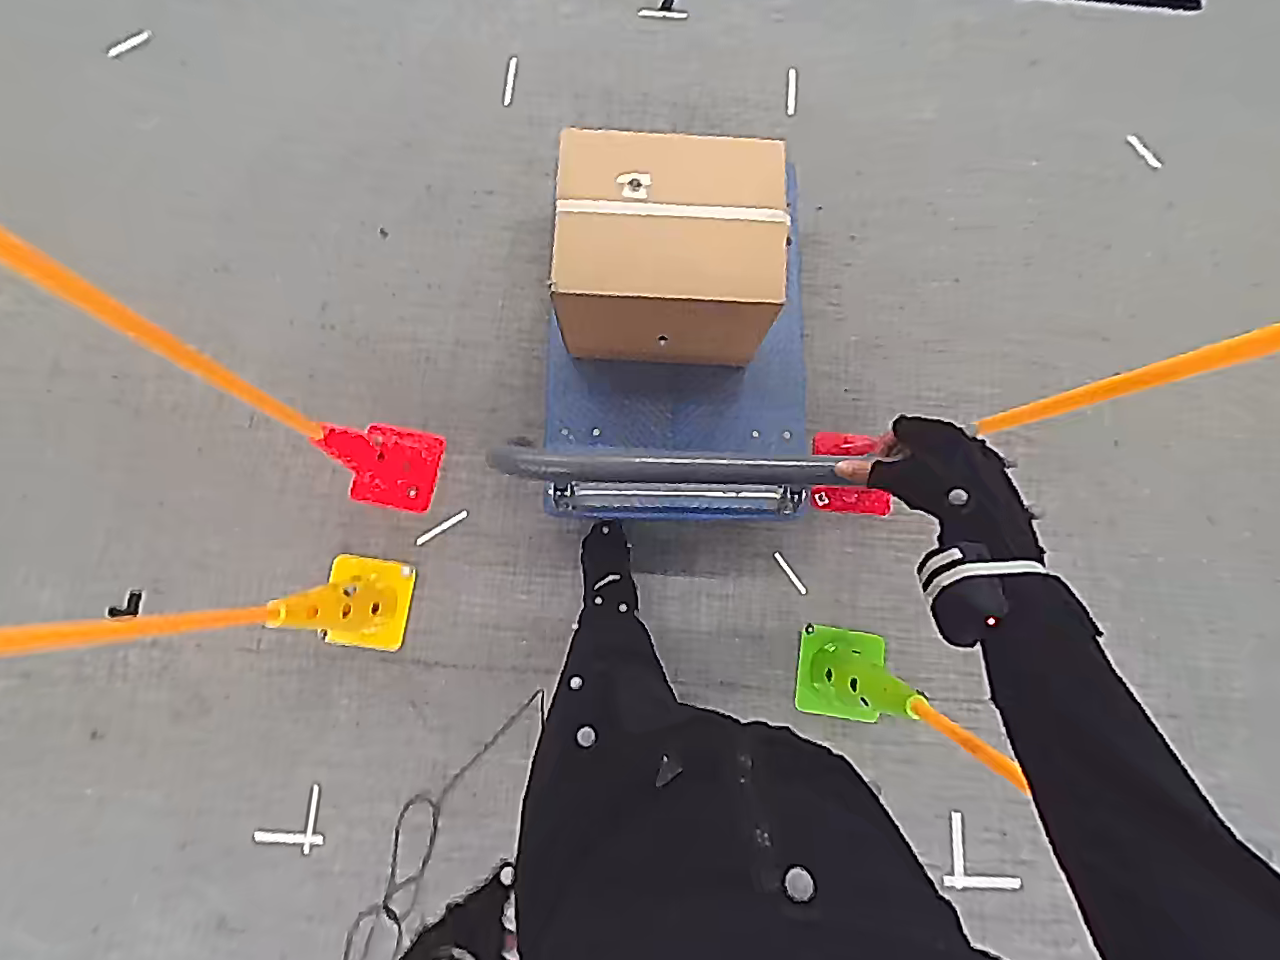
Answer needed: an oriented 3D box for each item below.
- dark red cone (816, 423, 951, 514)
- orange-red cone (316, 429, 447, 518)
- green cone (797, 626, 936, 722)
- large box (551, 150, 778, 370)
[{"bbox_3d":[0.541,-0.048,1.175,0.201,0.394,0.202,5,81,-2],"label":"dark red cone"},{"bbox_3d":[-0.594,-0.049,1.181,0.198,0.360,0.199,12,79,1],"label":"orange-red cone"},{"bbox_3d":[0.481,0.429,1.110,0.202,0.368,0.200,9,80,0],"label":"green cone"},{"bbox_3d":[0.047,-0.423,1.106,0.408,0.320,0.320,2,81,0],"label":"large box"}]
